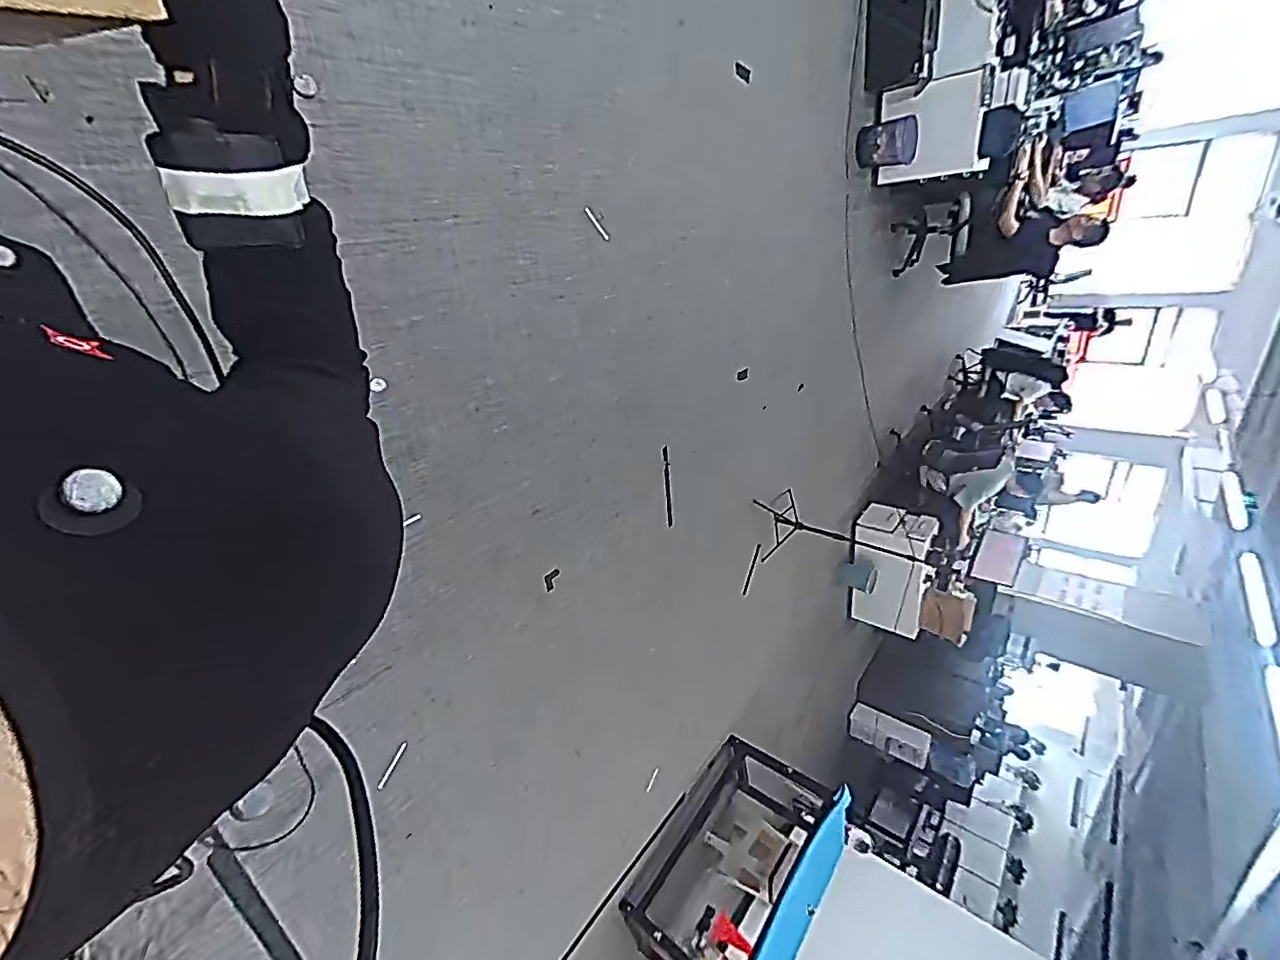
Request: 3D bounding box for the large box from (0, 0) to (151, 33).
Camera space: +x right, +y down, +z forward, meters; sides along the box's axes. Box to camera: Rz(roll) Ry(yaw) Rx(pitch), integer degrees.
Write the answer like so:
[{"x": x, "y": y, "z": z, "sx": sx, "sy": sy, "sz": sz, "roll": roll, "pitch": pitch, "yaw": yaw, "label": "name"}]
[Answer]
[{"x": -0.473, "y": -0.319, "z": 0.130, "sx": 0.408, "sy": 0.320, "sz": 0.320, "roll": -34, "pitch": 138, "yaw": -39, "label": "large box"}]
